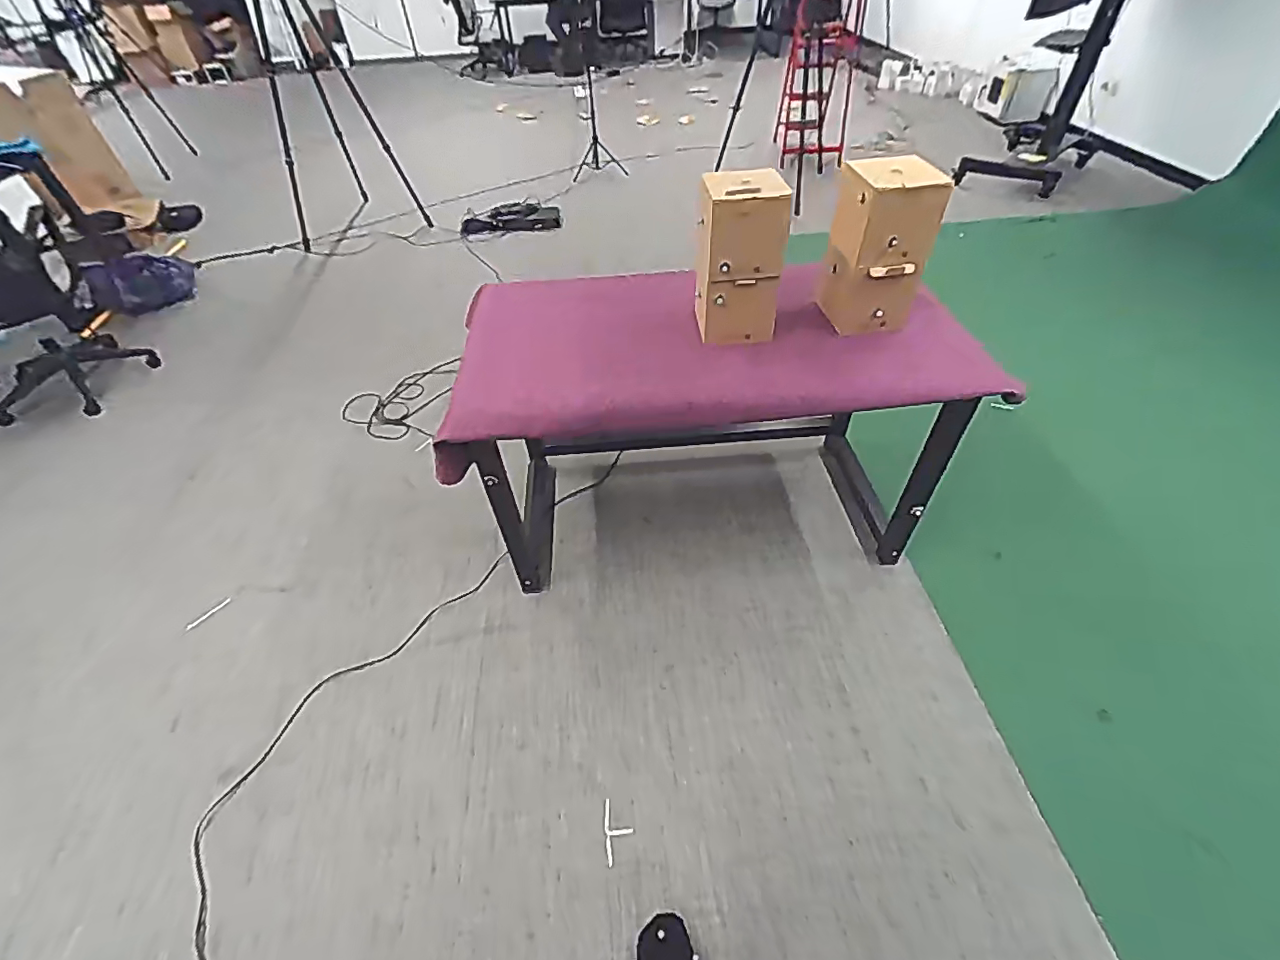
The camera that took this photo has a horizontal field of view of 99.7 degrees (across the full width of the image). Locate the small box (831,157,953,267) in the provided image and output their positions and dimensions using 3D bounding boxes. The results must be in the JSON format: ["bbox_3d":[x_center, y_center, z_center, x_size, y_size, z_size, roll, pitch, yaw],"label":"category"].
[{"bbox_3d":[0.542,-0.591,1.195,0.168,0.176,0.179,-7,48,-3],"label":"small box"}]

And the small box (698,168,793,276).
[{"bbox_3d":[0.220,-0.556,1.176,0.168,0.176,0.179,-4,45,-1],"label":"small box"}]

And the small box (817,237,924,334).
[{"bbox_3d":[0.546,-0.477,1.311,0.168,0.176,0.179,-7,47,-3],"label":"small box"}]
